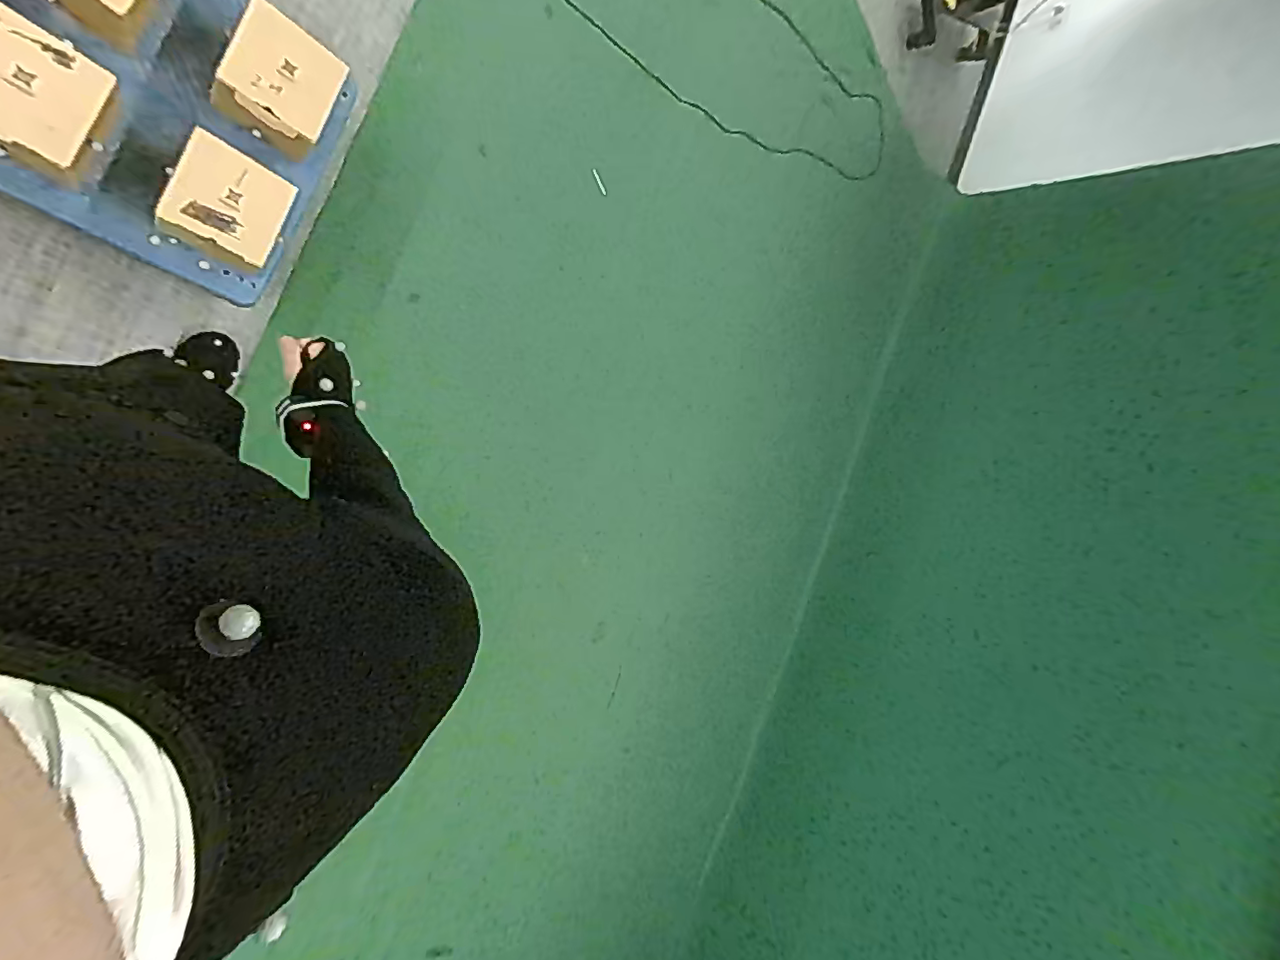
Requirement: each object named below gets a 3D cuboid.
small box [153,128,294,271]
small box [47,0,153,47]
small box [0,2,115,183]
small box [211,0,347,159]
[{"bbox_3d":[-0.816,-0.534,1.061,0.168,0.176,0.179,25,83,-44],"label":"small box"},{"bbox_3d":[-0.904,-0.867,0.875,0.168,0.176,0.179,27,84,-44],"label":"small box"},{"bbox_3d":[-0.982,-0.613,0.865,0.168,0.176,0.179,27,82,-44],"label":"small box"},{"bbox_3d":[-0.716,-0.780,1.065,0.168,0.176,0.179,25,83,-42],"label":"small box"}]
